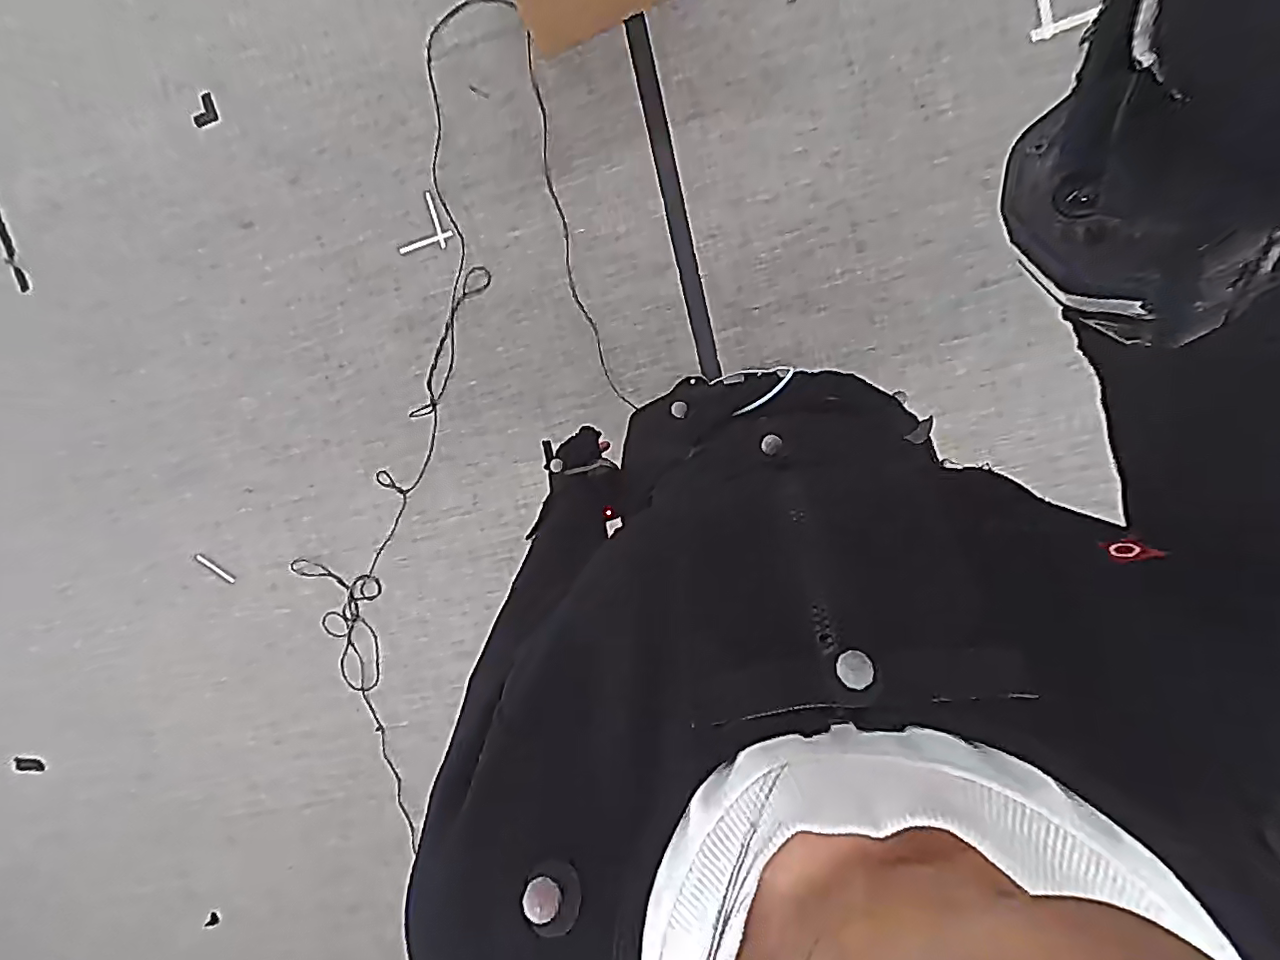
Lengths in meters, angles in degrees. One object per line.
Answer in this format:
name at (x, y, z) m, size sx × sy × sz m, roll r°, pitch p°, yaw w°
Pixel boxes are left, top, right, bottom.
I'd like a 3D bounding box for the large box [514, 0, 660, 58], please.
large box at (-0.121, -1.183, 1.101) m, size 0.408 × 0.320 × 0.320 m, roll -19°, pitch 100°, yaw 8°
